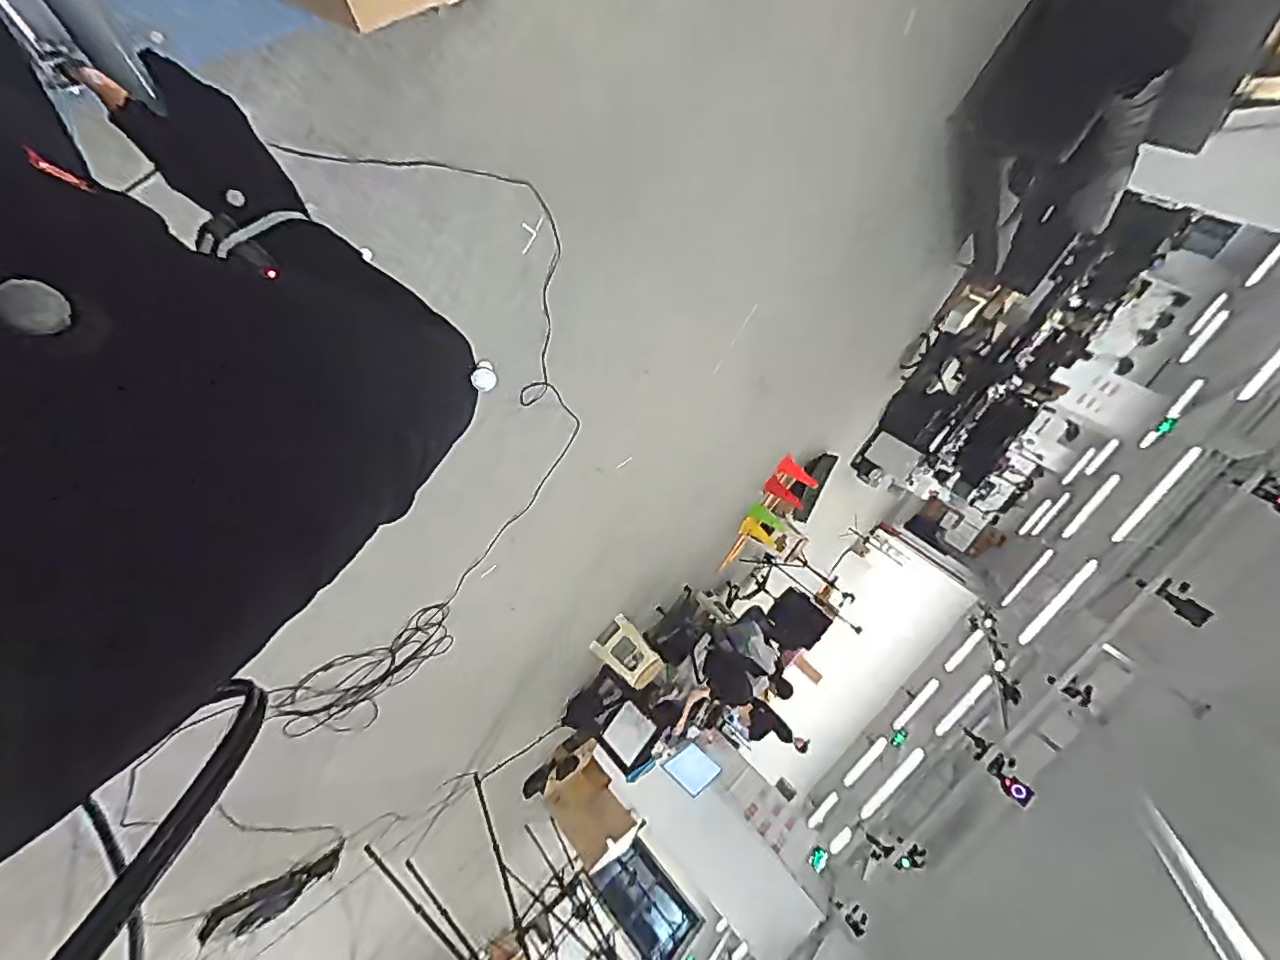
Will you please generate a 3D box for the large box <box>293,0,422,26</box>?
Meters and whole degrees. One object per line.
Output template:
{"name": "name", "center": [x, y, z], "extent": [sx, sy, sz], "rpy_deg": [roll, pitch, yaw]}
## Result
{"name": "large box", "center": [-0.408, -0.913, 0.705], "extent": [0.320, 0.320, 0.408], "rpy_deg": [-40, 149, -18]}
